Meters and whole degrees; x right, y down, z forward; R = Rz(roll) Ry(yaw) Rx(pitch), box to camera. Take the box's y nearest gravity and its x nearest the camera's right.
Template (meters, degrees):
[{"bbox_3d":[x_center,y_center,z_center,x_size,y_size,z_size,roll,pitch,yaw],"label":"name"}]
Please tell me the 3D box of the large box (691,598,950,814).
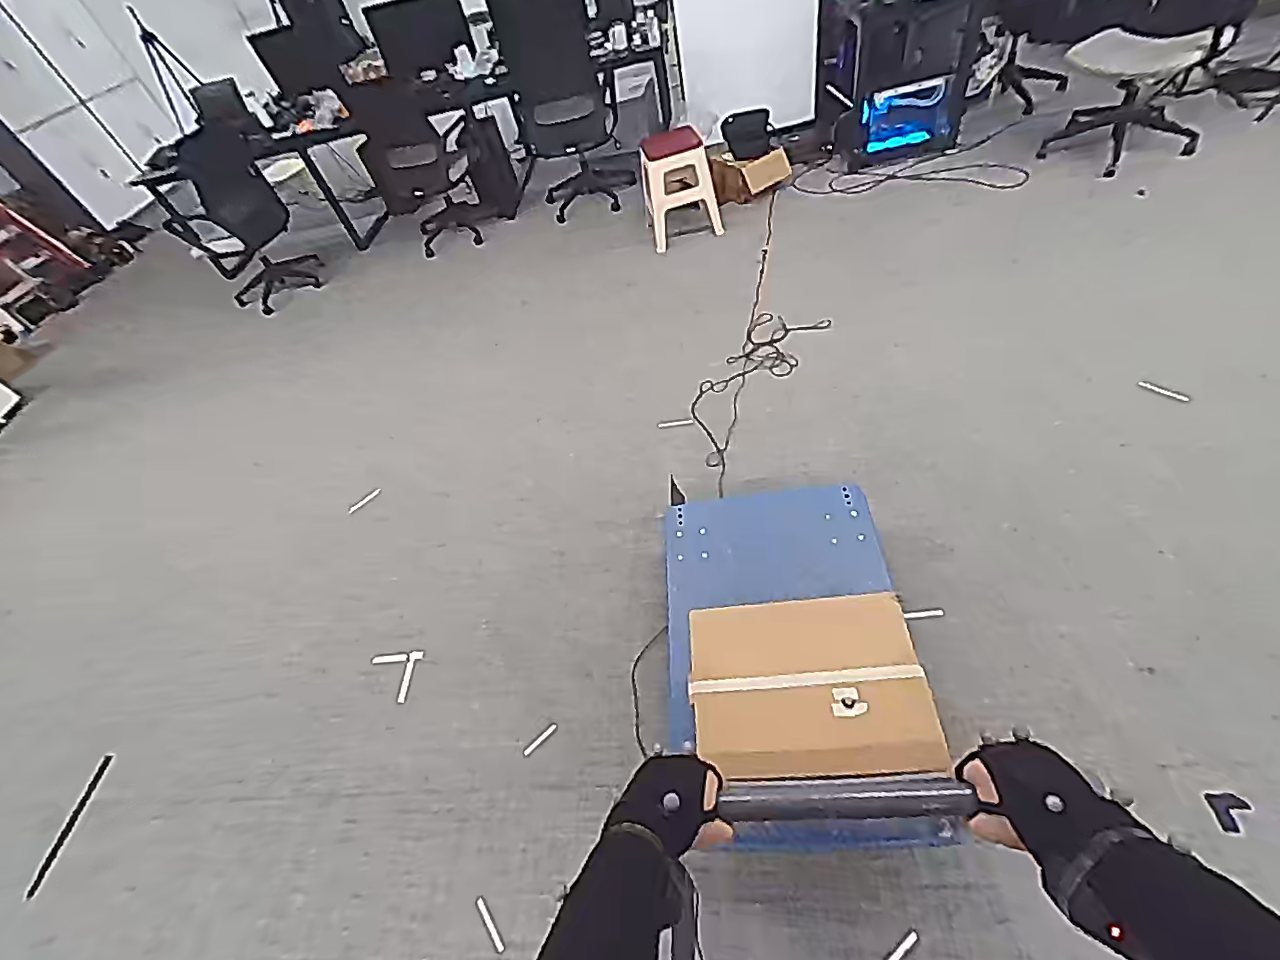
[{"bbox_3d":[0.330,0.469,1.099,0.408,0.320,0.320,-8,51,9],"label":"large box"}]
